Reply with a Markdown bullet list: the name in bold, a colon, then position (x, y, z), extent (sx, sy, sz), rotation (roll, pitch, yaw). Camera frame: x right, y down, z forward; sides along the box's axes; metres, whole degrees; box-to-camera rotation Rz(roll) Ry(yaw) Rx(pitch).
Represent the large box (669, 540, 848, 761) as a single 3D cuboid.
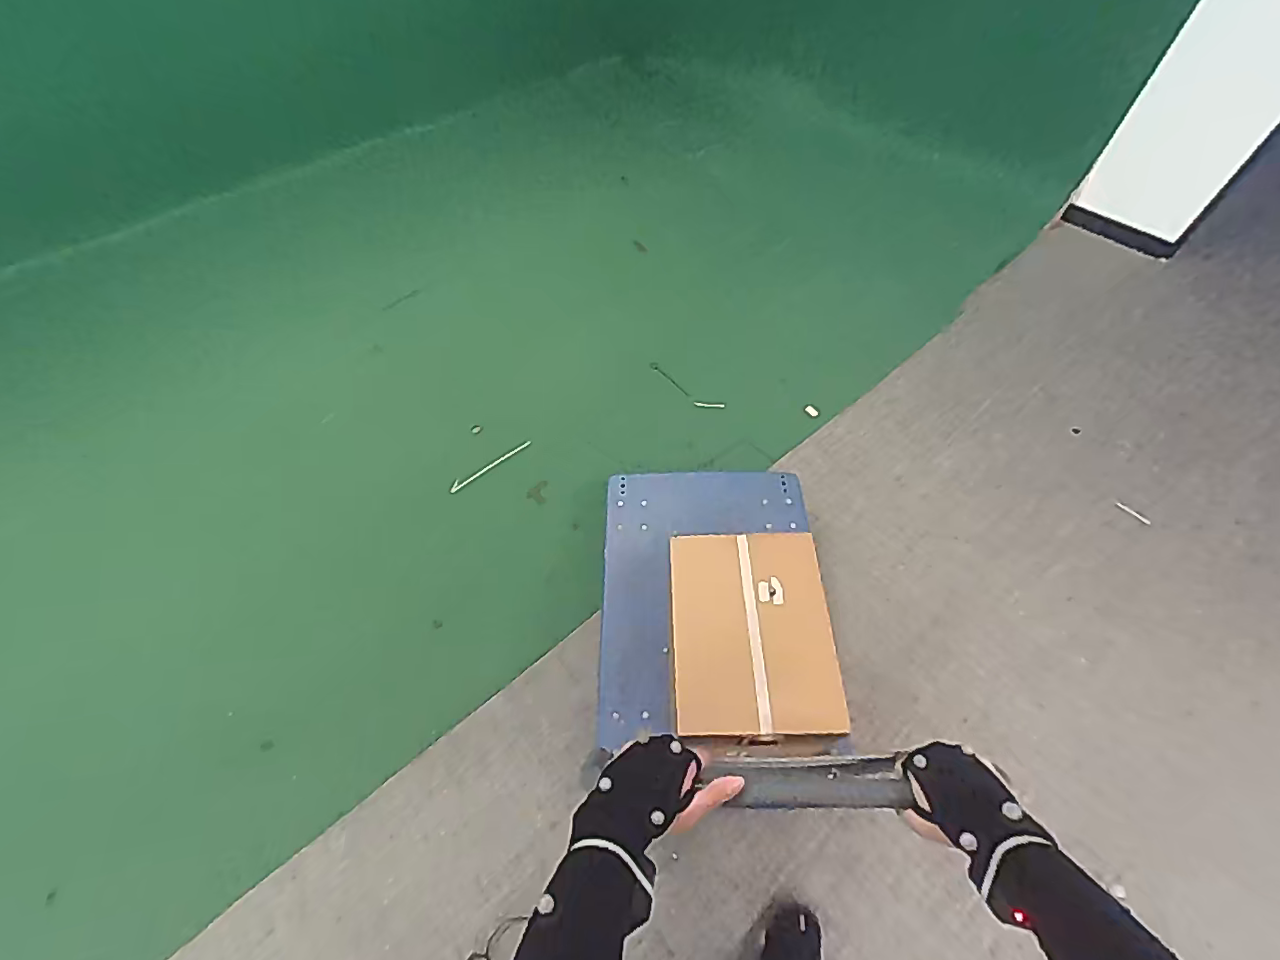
- **large box**: position (0.229, 0.386, 1.215), extent (0.320, 0.320, 0.408), rotation (-1, 55, 1)
